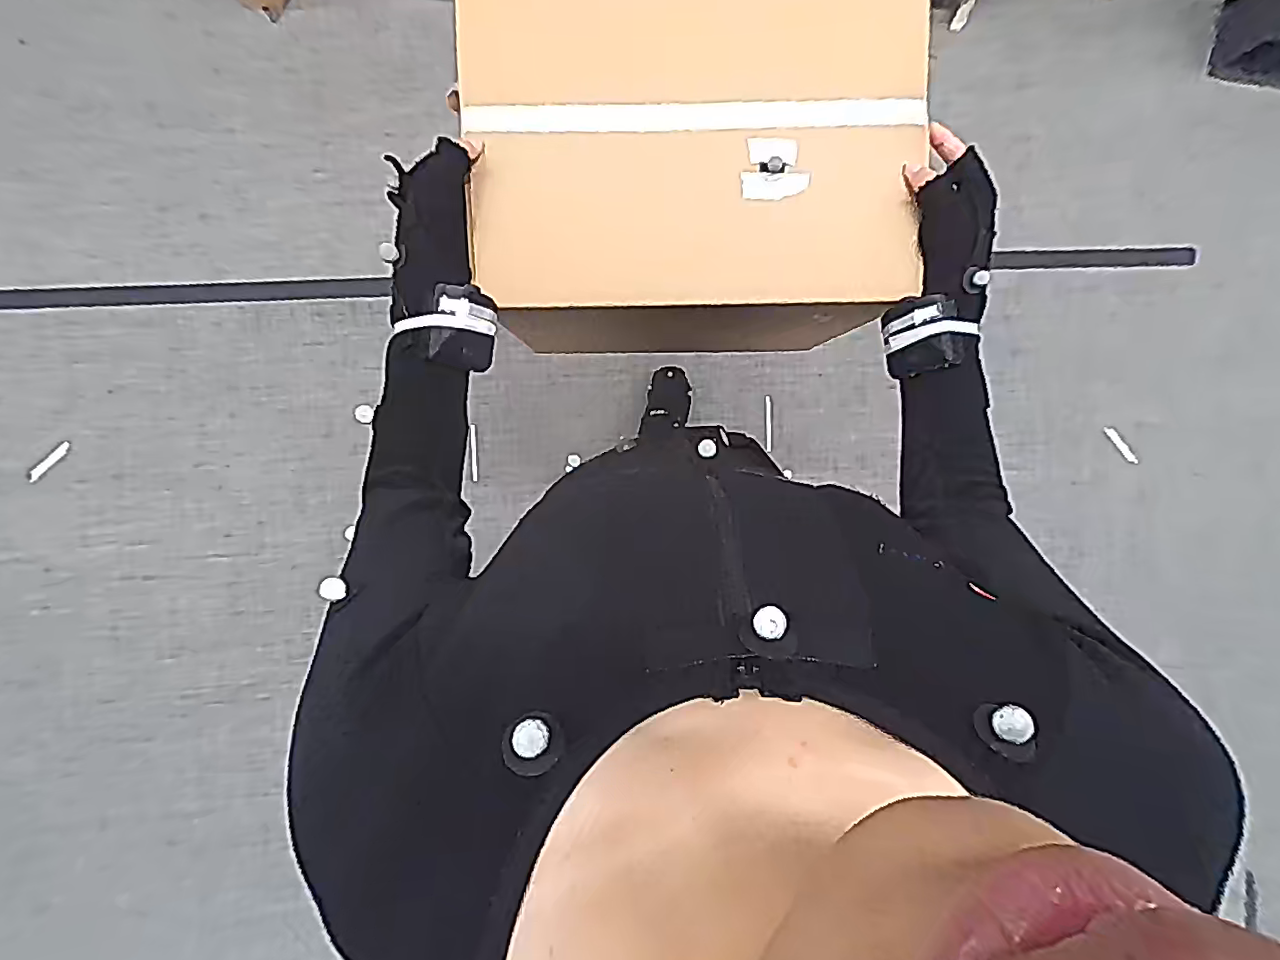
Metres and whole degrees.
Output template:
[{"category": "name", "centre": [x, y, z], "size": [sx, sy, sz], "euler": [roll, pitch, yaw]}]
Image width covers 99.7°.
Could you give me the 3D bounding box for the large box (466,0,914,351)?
[{"category": "large box", "centre": [0.044, -0.336, 0.636], "size": [0.408, 0.320, 0.320], "euler": [-2, 96, -1]}]
